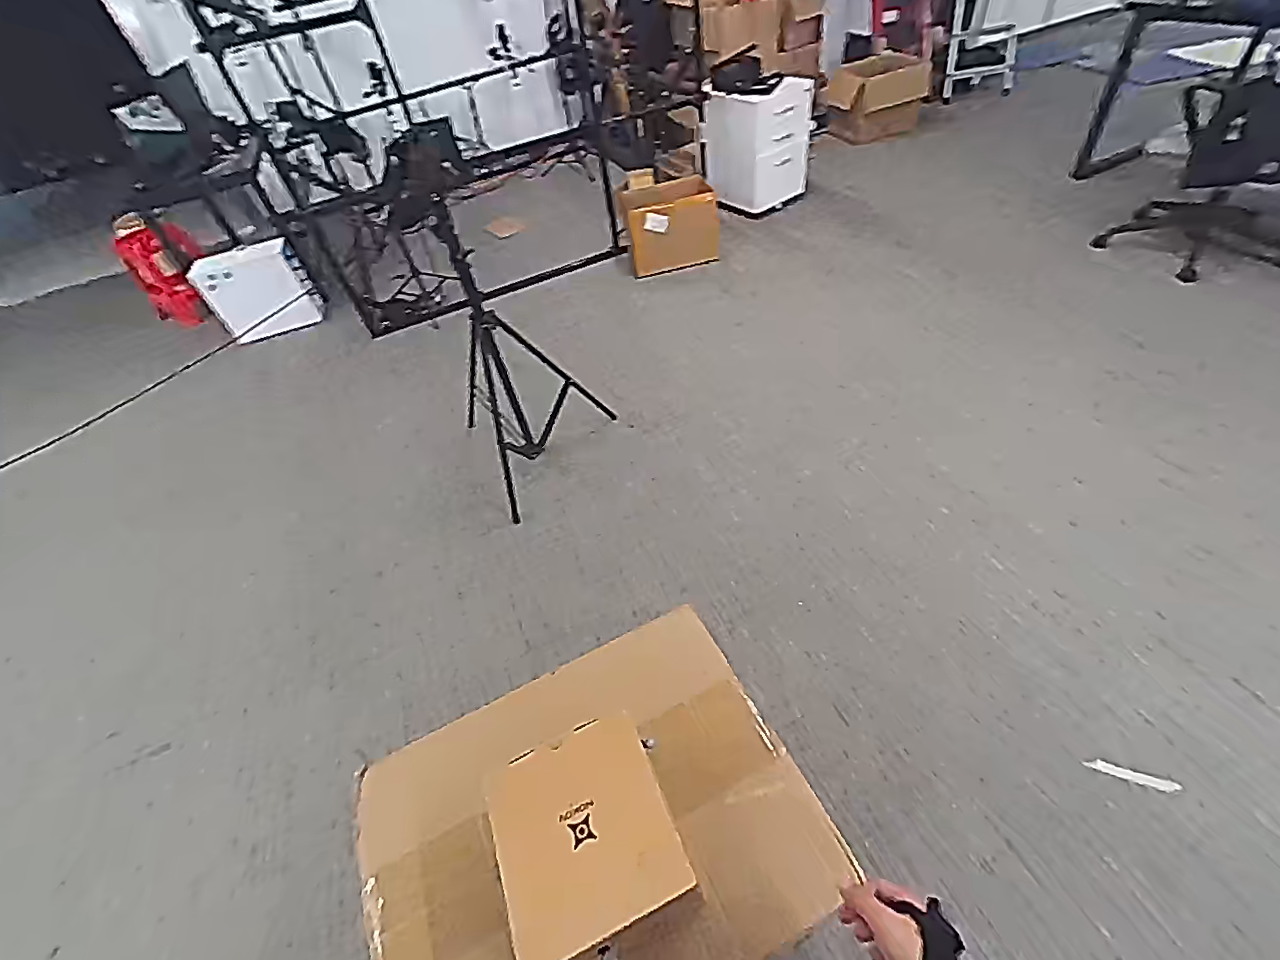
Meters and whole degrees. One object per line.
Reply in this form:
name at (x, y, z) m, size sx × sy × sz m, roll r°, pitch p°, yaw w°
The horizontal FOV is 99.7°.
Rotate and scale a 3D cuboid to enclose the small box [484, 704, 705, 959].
small box at (-0.041, 0.377, 0.567) m, size 0.168 × 0.176 × 0.179 m, roll -23°, pitch 47°, yaw -11°
